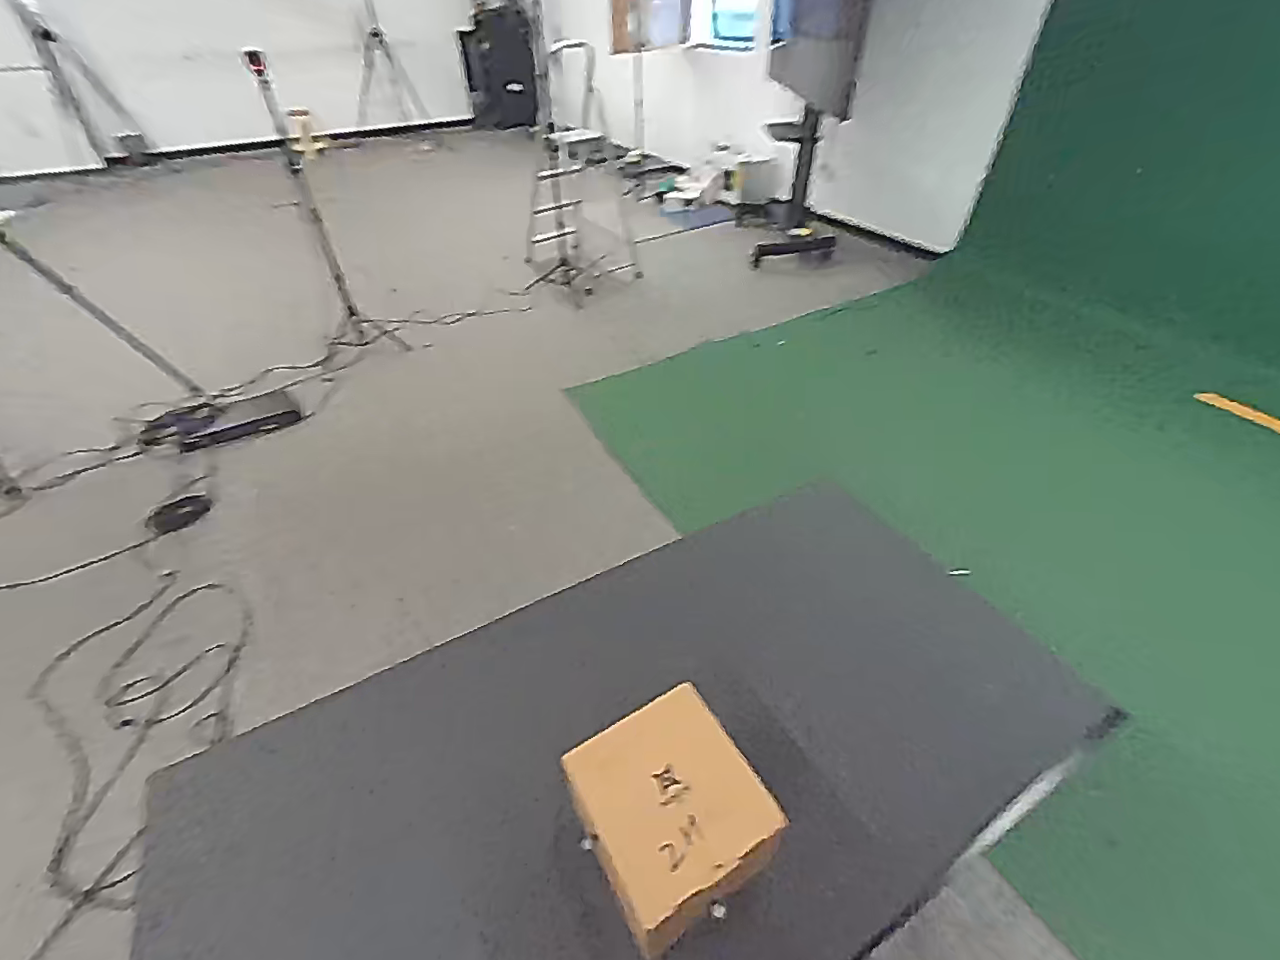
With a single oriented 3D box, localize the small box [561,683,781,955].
[{"bbox_3d":[0.027,0.373,0.603,0.168,0.176,0.179,-23,45,-22],"label":"small box"}]
